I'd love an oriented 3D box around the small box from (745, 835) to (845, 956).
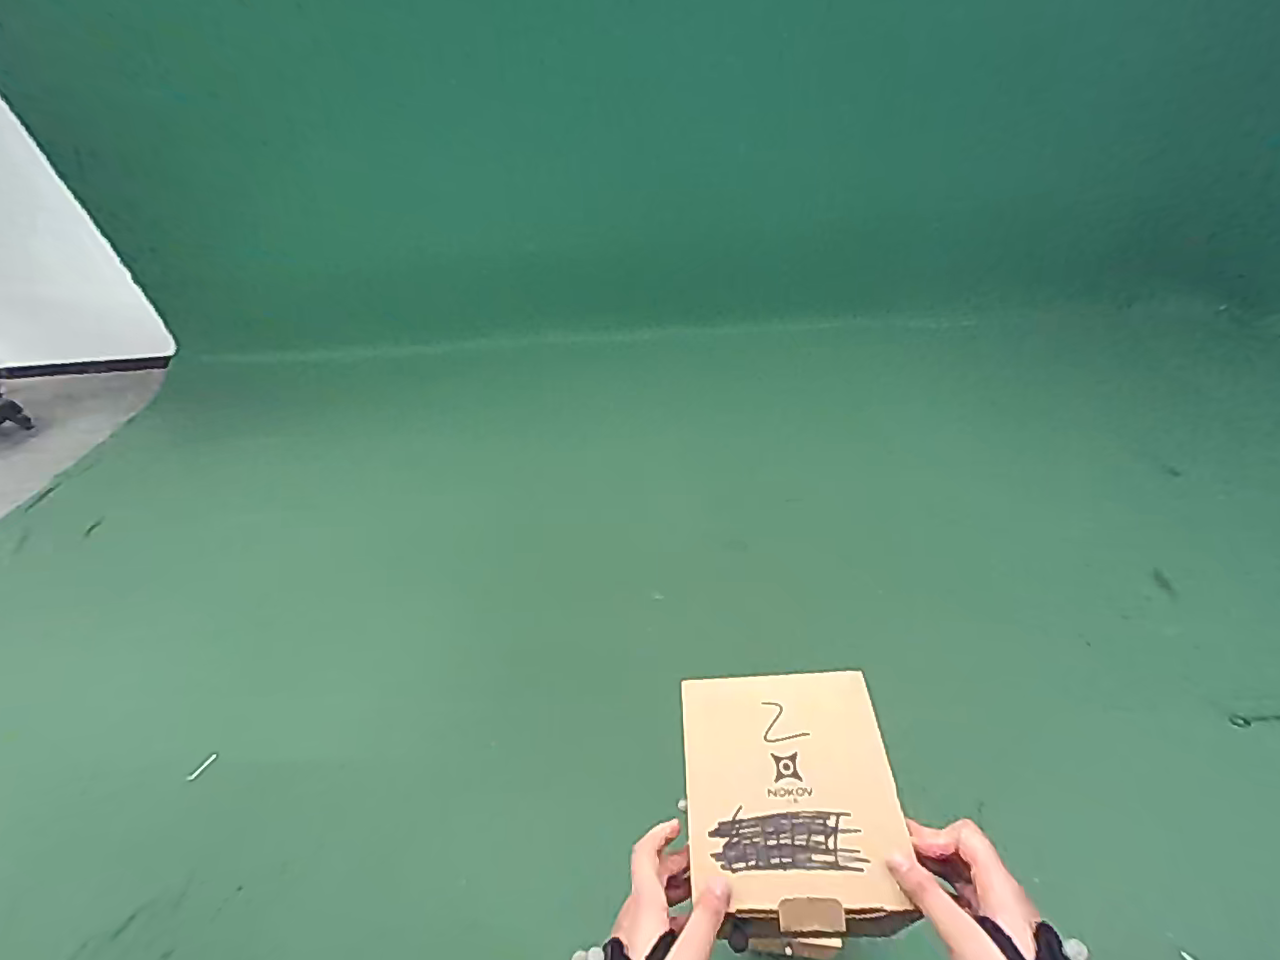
[{"bbox_3d":[0.311,0.864,1.122,0.179,0.176,0.168,1,43,9],"label":"small box"}]
